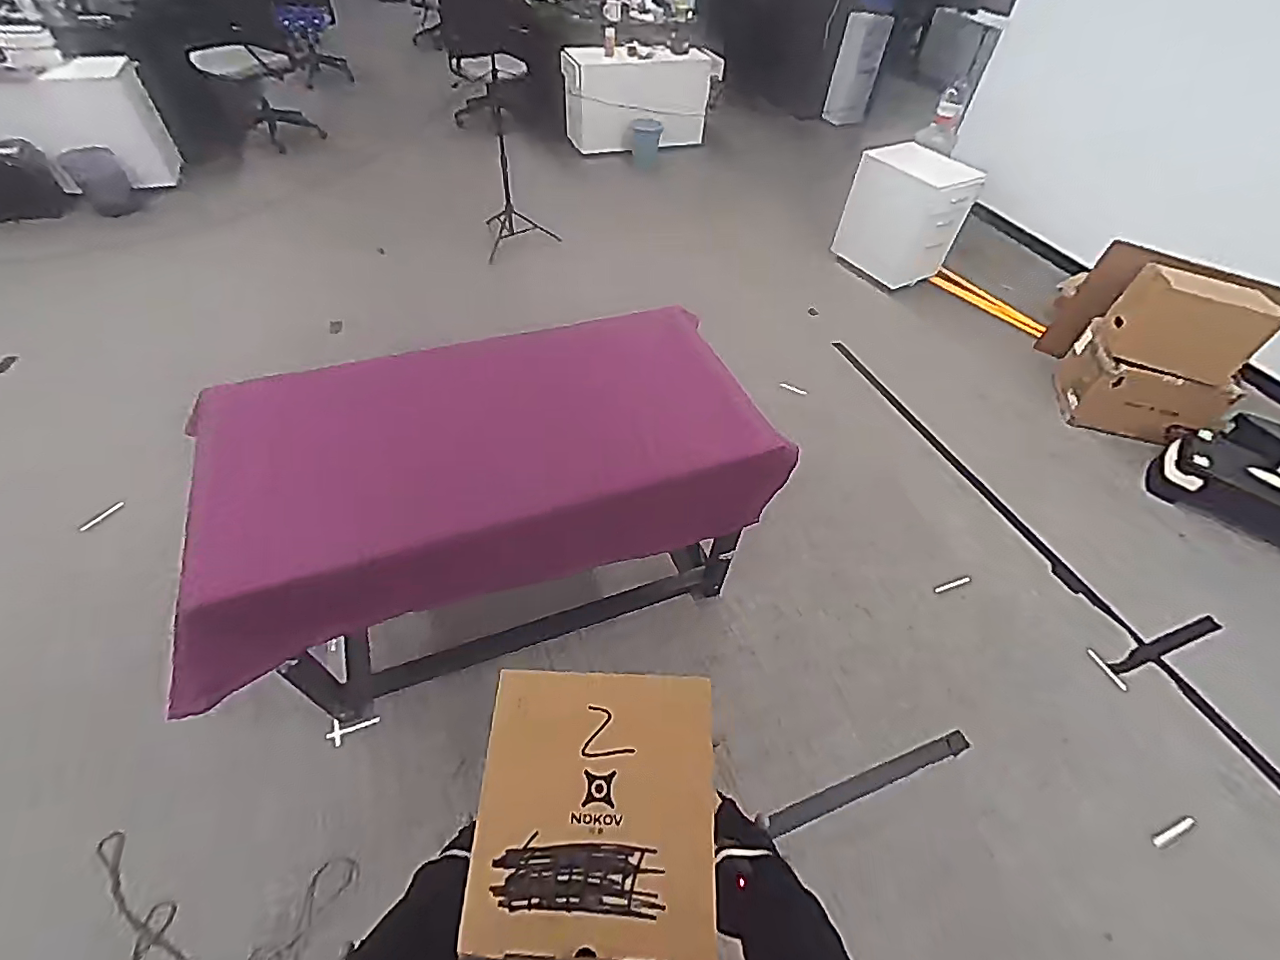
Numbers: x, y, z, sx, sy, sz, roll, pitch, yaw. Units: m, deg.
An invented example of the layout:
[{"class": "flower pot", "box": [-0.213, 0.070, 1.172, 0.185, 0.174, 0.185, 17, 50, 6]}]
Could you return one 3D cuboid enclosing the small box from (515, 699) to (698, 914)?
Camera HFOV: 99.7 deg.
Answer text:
[{"class": "small box", "box": [-0.029, 0.345, 0.588, 0.168, 0.176, 0.179, 1, 61, 1]}]
